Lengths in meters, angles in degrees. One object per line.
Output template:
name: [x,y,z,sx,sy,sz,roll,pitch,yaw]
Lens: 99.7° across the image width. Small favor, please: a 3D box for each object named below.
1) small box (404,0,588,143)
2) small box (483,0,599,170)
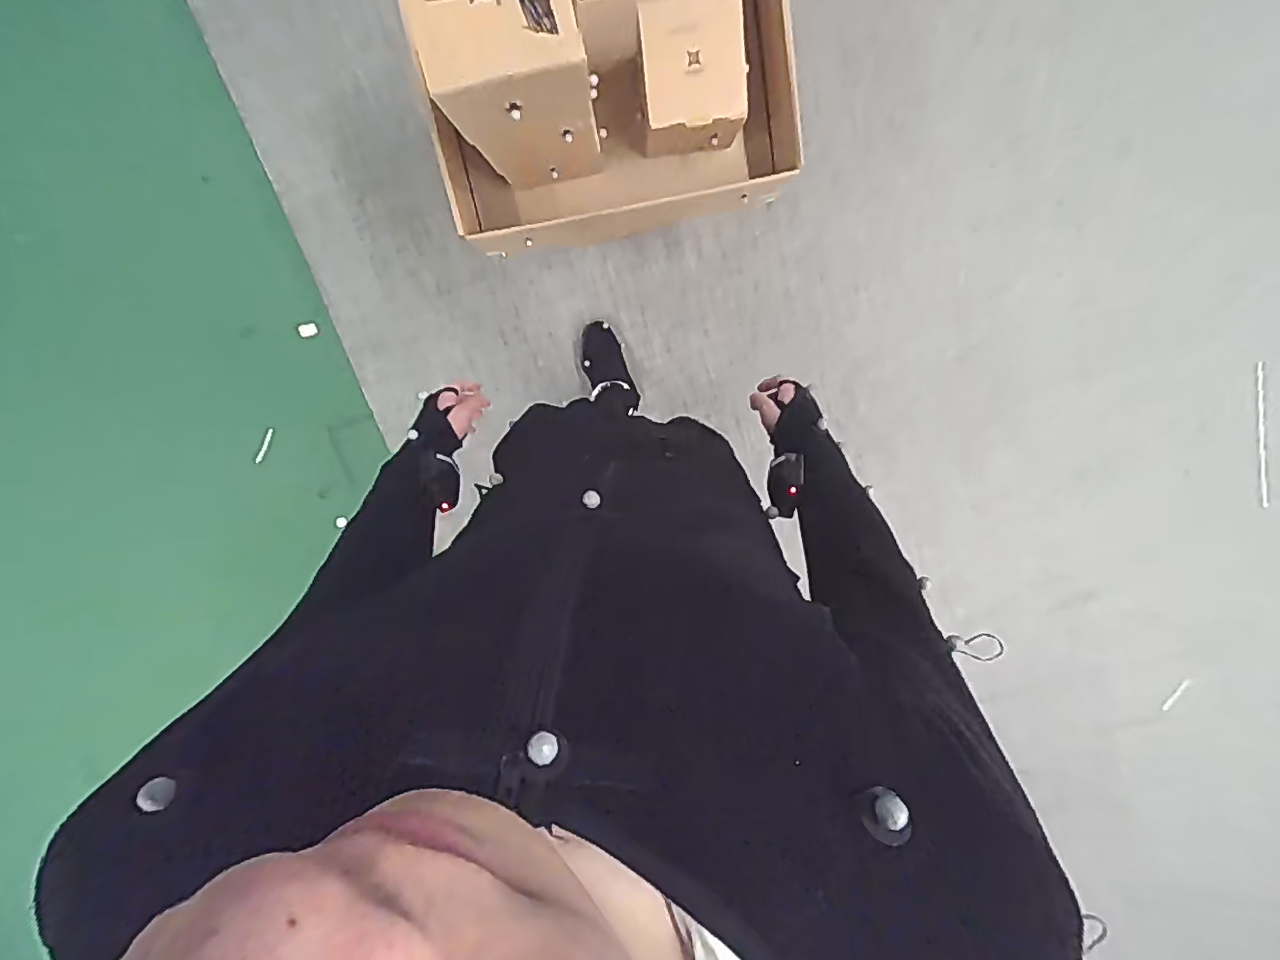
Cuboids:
small box: [-0.163,-0.533,0.647,0.179,0.176,0.168,-11,106,3]
small box: [-0.164,-0.583,0.804,0.179,0.176,0.168,-10,106,1]
